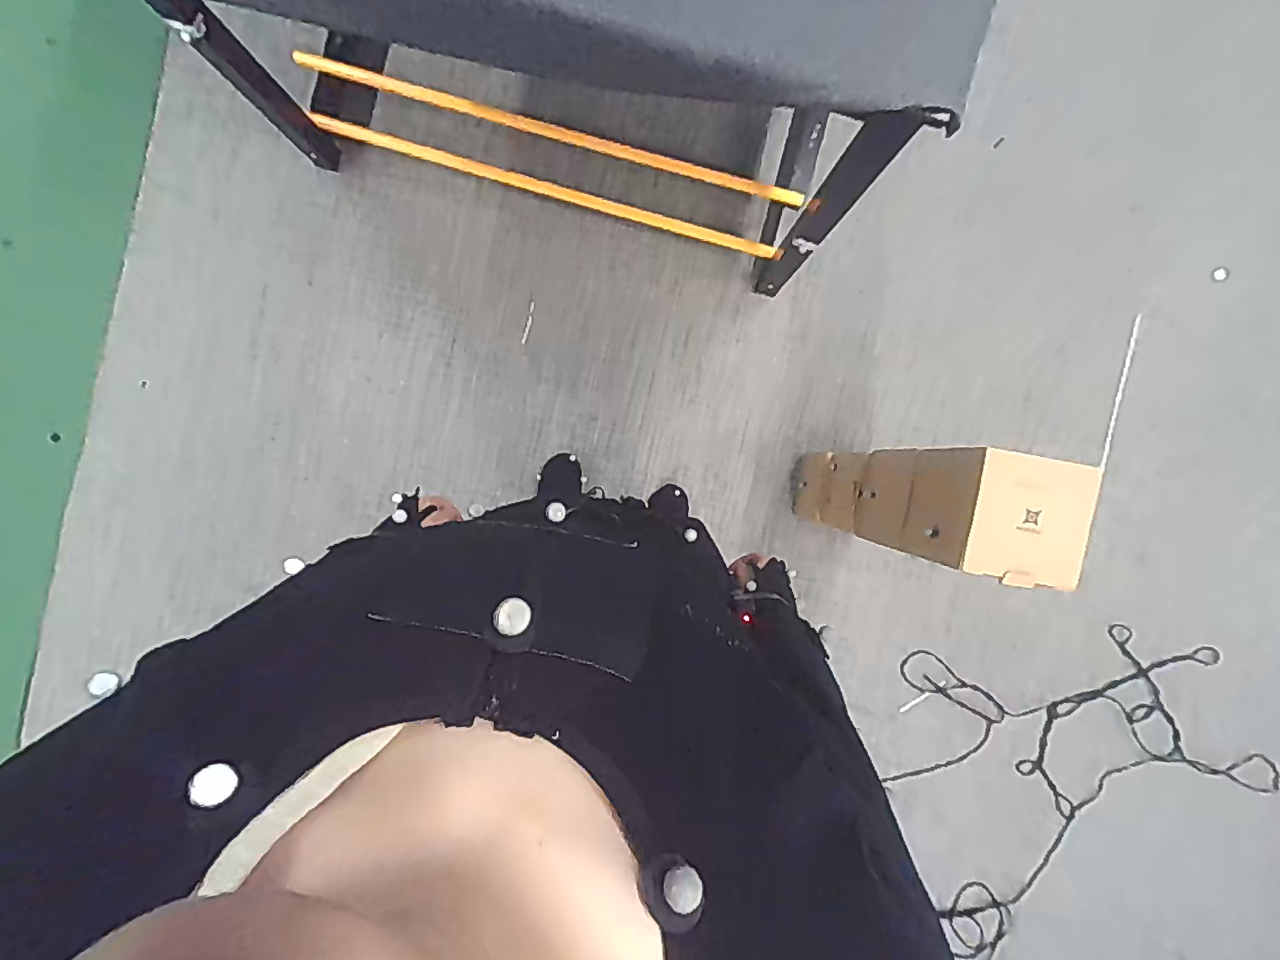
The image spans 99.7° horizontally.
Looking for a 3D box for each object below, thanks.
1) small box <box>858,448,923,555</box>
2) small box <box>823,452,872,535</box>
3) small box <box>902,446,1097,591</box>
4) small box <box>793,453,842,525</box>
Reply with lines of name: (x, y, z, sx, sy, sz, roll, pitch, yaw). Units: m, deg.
small box: (0.514, 0.043, 0.974, 0.168, 0.176, 0.179, 10, 92, -2)
small box: (0.505, 0.037, 1.137, 0.179, 0.176, 0.168, 9, 92, -3)
small box: (0.521, 0.051, 0.811, 0.168, 0.176, 0.179, 10, 91, -3)
small box: (0.489, 0.029, 1.300, 0.179, 0.176, 0.168, 9, 91, -1)
